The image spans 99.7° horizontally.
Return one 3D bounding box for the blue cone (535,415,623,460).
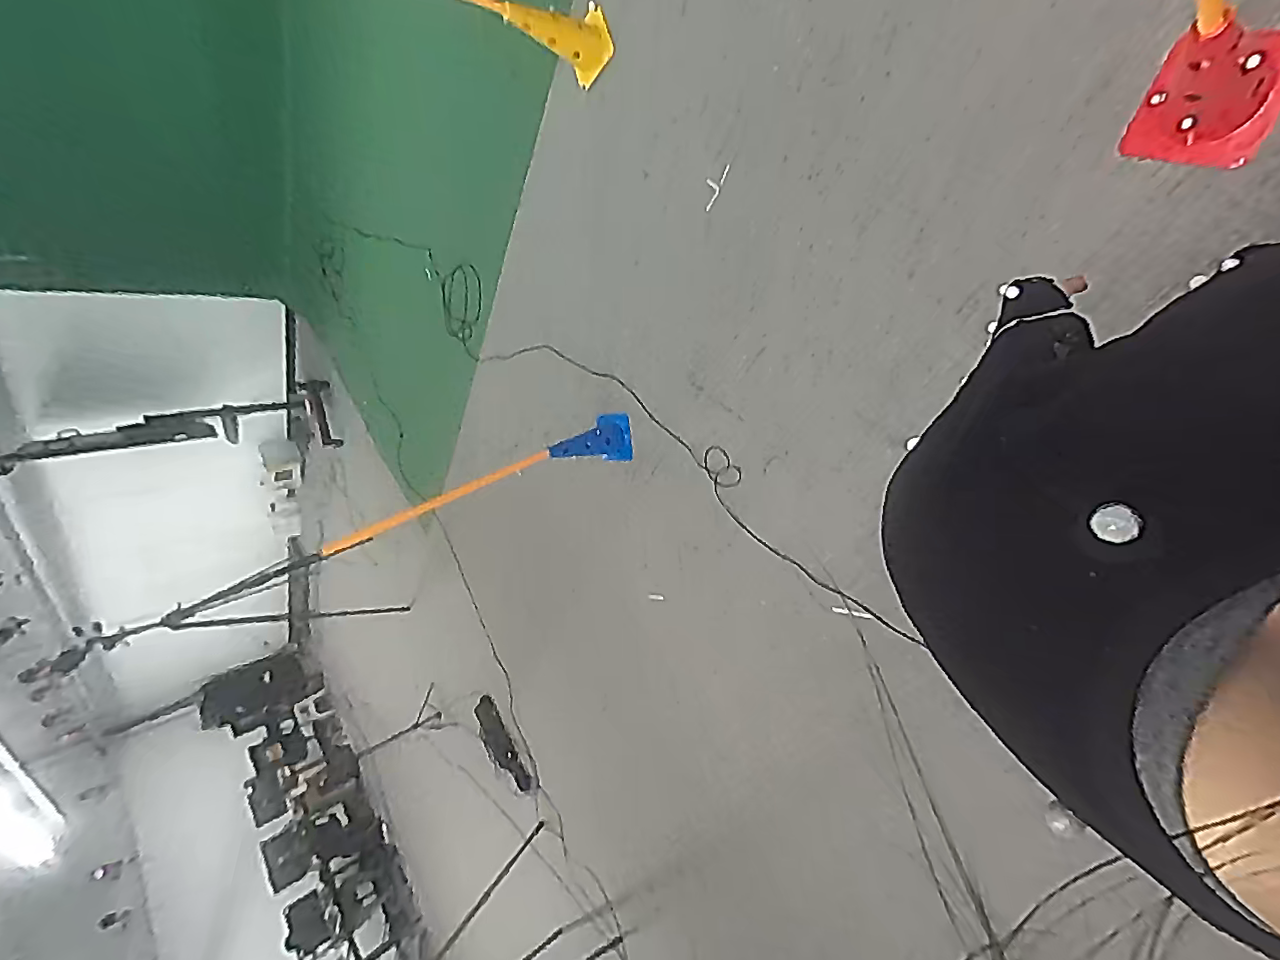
[{"bbox_3d":[-0.256,-0.142,2.170,0.192,0.380,0.193,1,104,44],"label":"blue cone"}]
